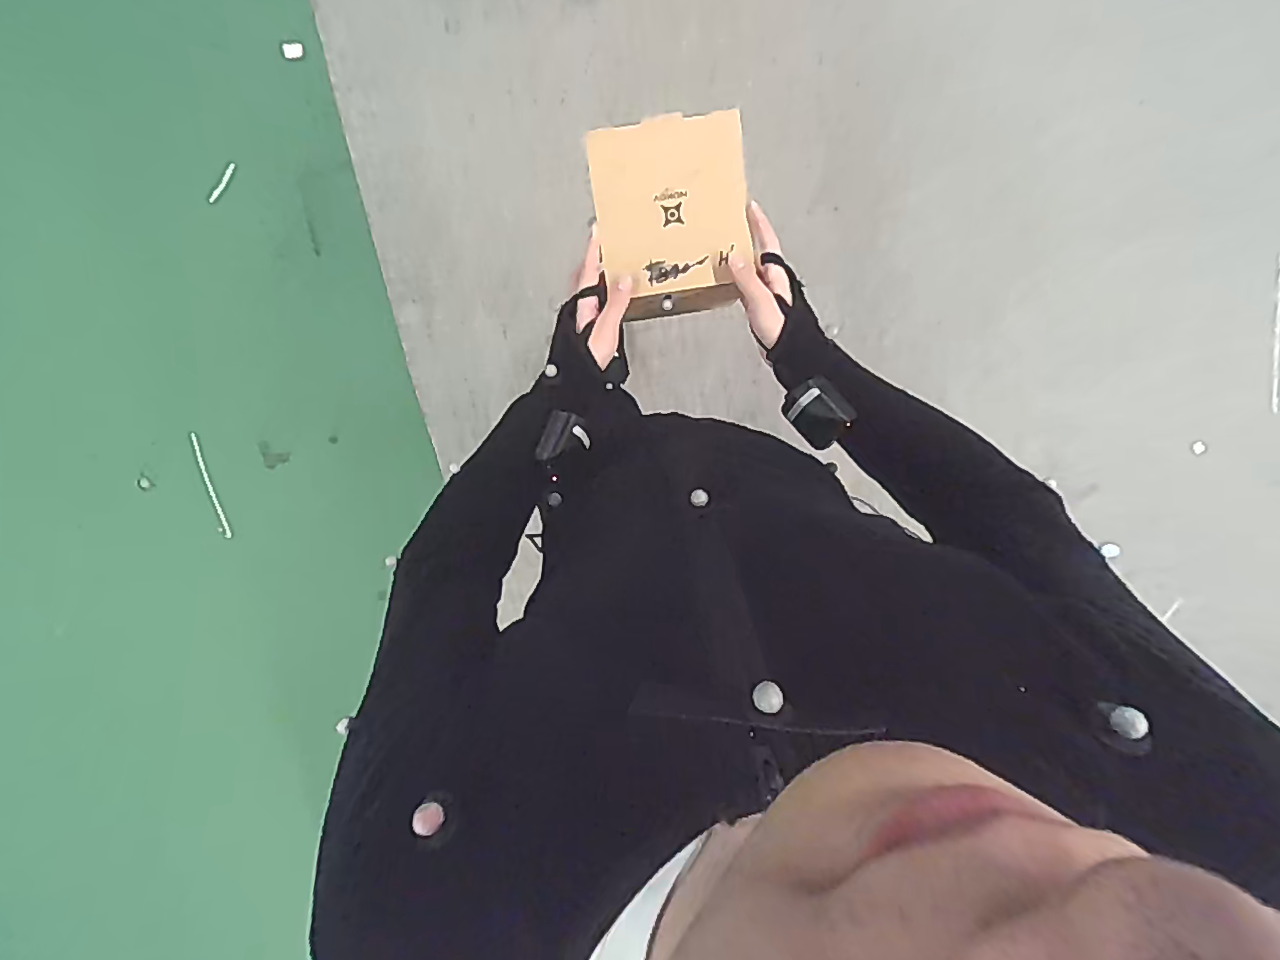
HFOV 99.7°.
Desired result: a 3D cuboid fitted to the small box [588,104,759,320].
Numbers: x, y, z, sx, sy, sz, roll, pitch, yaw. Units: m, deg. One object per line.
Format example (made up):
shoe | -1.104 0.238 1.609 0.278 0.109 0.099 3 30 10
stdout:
small box | 0.034 -0.299 0.641 0.168 0.176 0.179 -8 98 1
